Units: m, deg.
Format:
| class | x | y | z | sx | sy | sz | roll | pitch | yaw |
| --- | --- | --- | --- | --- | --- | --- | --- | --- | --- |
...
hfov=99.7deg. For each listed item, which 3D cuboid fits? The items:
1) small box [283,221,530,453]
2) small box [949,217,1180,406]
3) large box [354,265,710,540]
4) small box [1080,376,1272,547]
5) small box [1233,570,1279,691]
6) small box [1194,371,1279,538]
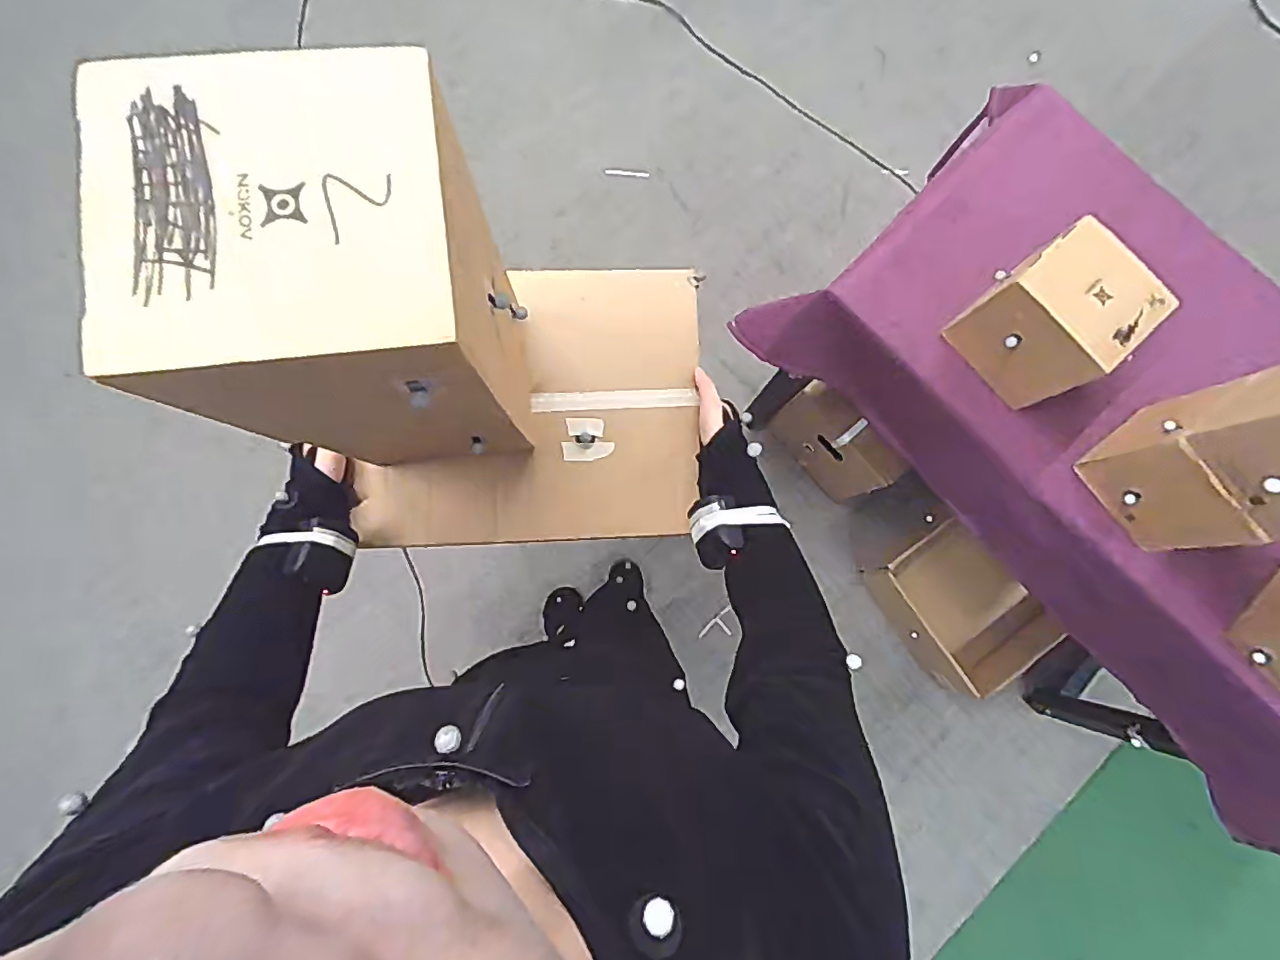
| class | x | y | z | sx | sy | sz | roll | pitch | yaw |
| --- | --- | --- | --- | --- | --- | --- | --- | --- | --- |
| small box | -0.204 | -0.123 | 0.521 | 0.179 | 0.176 | 0.168 | -6 | 84 | -4 |
| small box | 0.616 | -0.239 | 0.811 | 0.168 | 0.176 | 0.179 | -40 | 84 | -8 |
| large box | -0.136 | -0.085 | 0.768 | 0.408 | 0.320 | 0.320 | -2 | 86 | -5 |
| small box | 0.812 | -0.017 | 0.788 | 0.179 | 0.176 | 0.168 | -35 | 84 | -8 |
| small box | 1.013 | 0.231 | 0.756 | 0.179 | 0.176 | 0.168 | -39 | 85 | -10 |
| small box | 0.829 | -0.048 | 0.627 | 0.179 | 0.176 | 0.168 | -34 | 83 | -8 |
